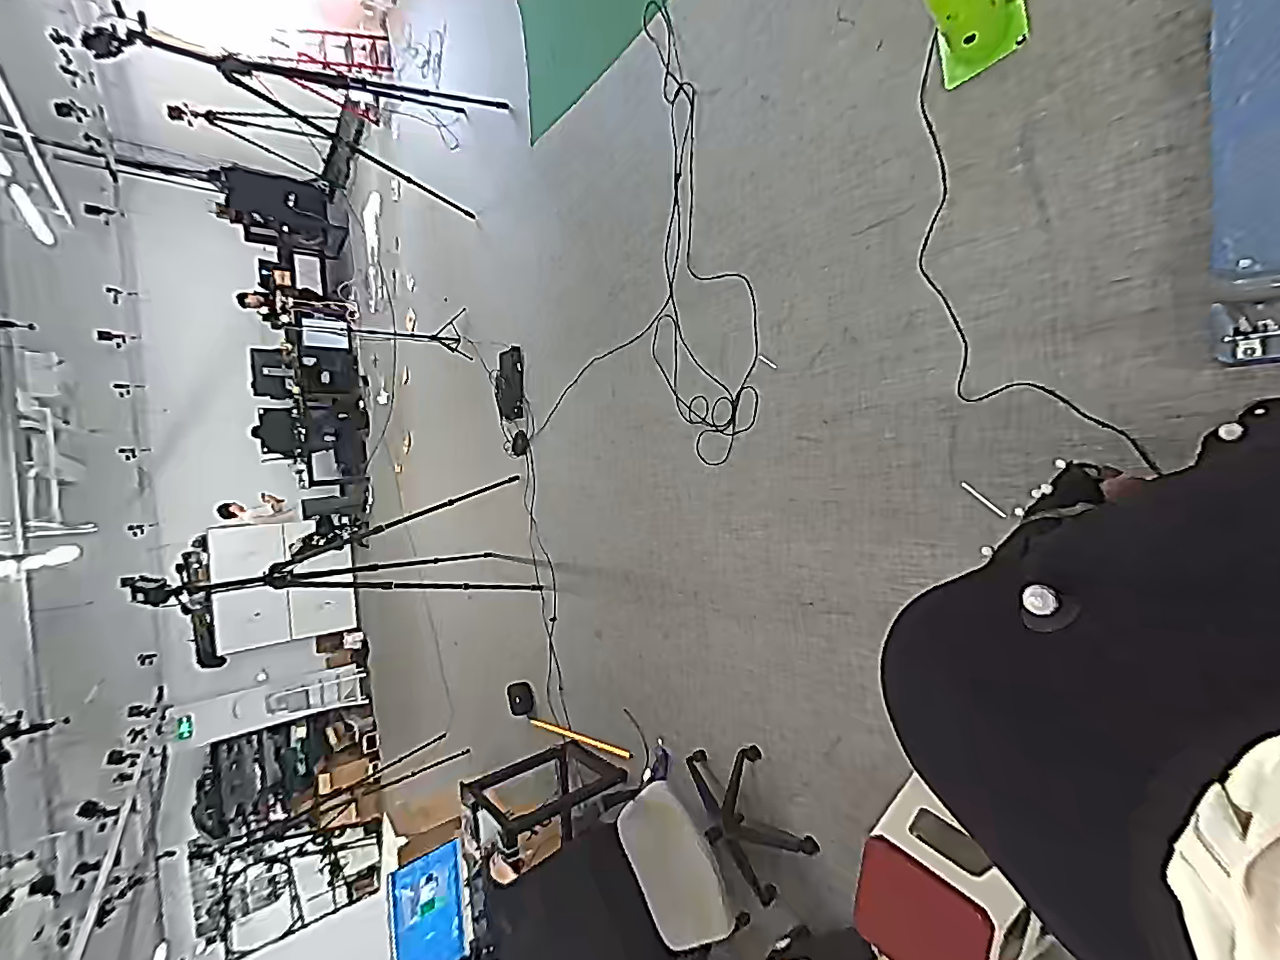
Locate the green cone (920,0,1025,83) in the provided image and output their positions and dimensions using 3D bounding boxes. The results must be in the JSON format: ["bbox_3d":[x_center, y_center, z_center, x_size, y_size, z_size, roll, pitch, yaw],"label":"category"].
[{"bbox_3d":[0.763,-1.198,1.337,0.202,0.368,0.200,-10,86,54],"label":"green cone"}]
